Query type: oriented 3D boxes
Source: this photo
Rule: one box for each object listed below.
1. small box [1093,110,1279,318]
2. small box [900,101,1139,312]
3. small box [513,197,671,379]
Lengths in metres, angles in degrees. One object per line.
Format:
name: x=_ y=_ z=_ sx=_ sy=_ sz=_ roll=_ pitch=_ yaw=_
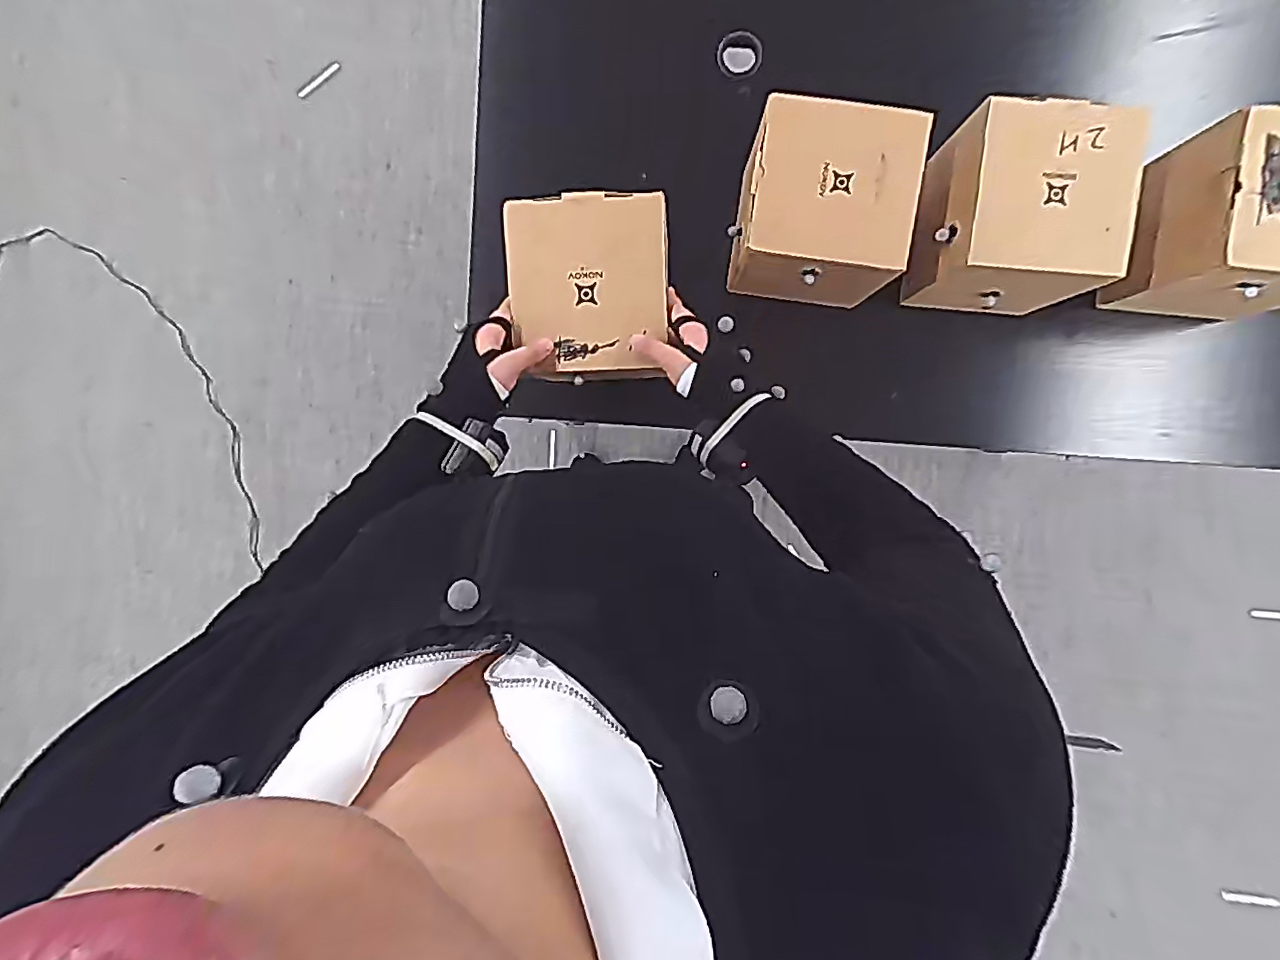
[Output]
small box: x=0.699 y=-0.301 z=0.647 sx=0.179 sy=0.176 sz=0.168 roll=6 pitch=93 yaw=1
small box: x=0.438 y=-0.313 z=0.657 sx=0.168 sy=0.176 sz=0.179 roll=6 pitch=93 yaw=2
small box: x=-0.047 y=-0.215 z=0.648 sx=0.168 sy=0.176 sz=0.179 roll=-1 pitch=98 yaw=4
